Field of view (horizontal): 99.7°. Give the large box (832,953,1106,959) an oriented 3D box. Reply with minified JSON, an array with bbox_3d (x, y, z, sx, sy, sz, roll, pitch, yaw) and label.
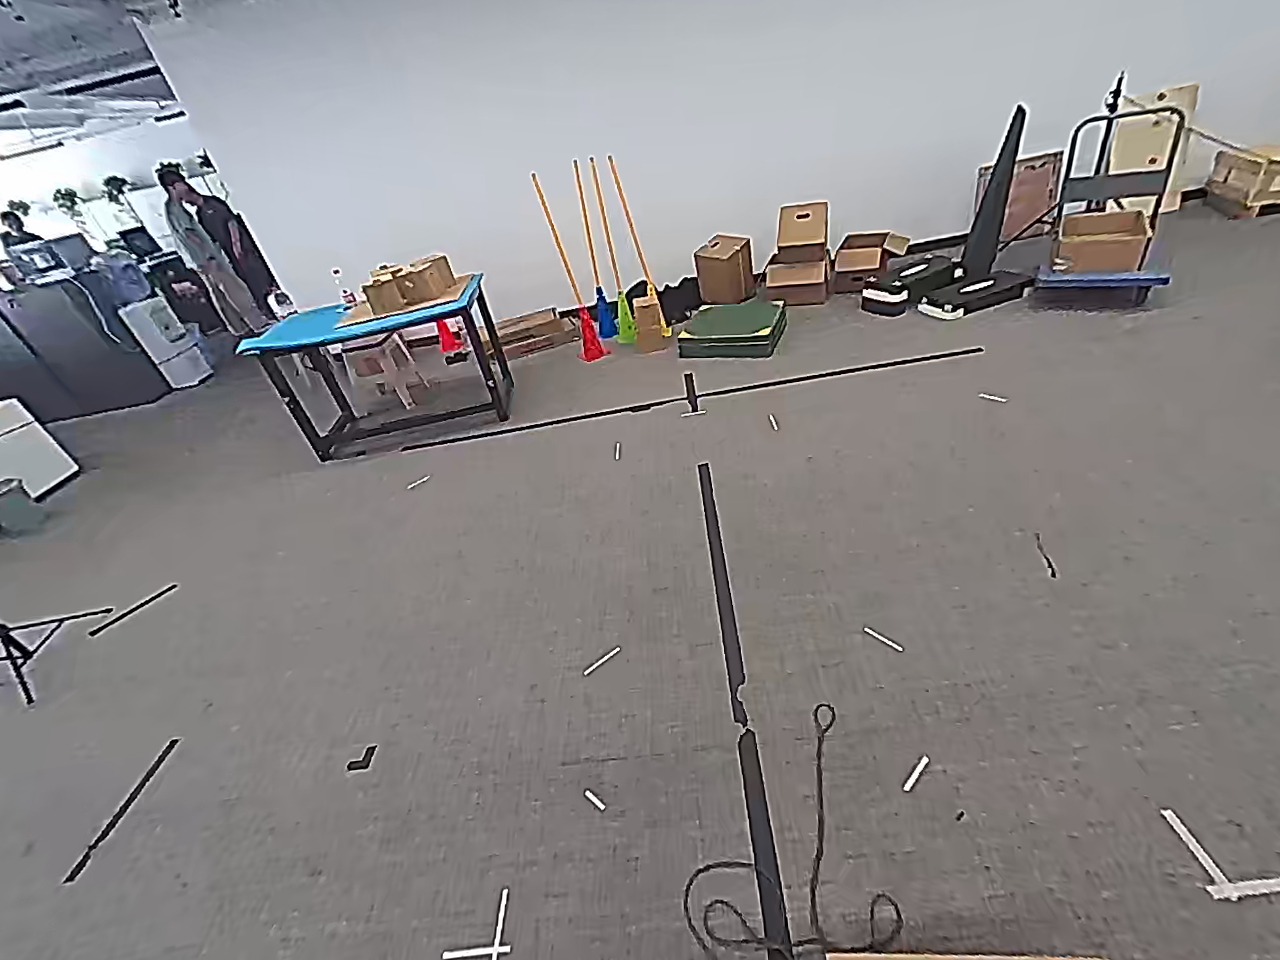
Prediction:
[{"bbox_3d":[0.506,0.929,0.775,0.408,0.320,0.320,-7,35,9],"label":"large box"}]
